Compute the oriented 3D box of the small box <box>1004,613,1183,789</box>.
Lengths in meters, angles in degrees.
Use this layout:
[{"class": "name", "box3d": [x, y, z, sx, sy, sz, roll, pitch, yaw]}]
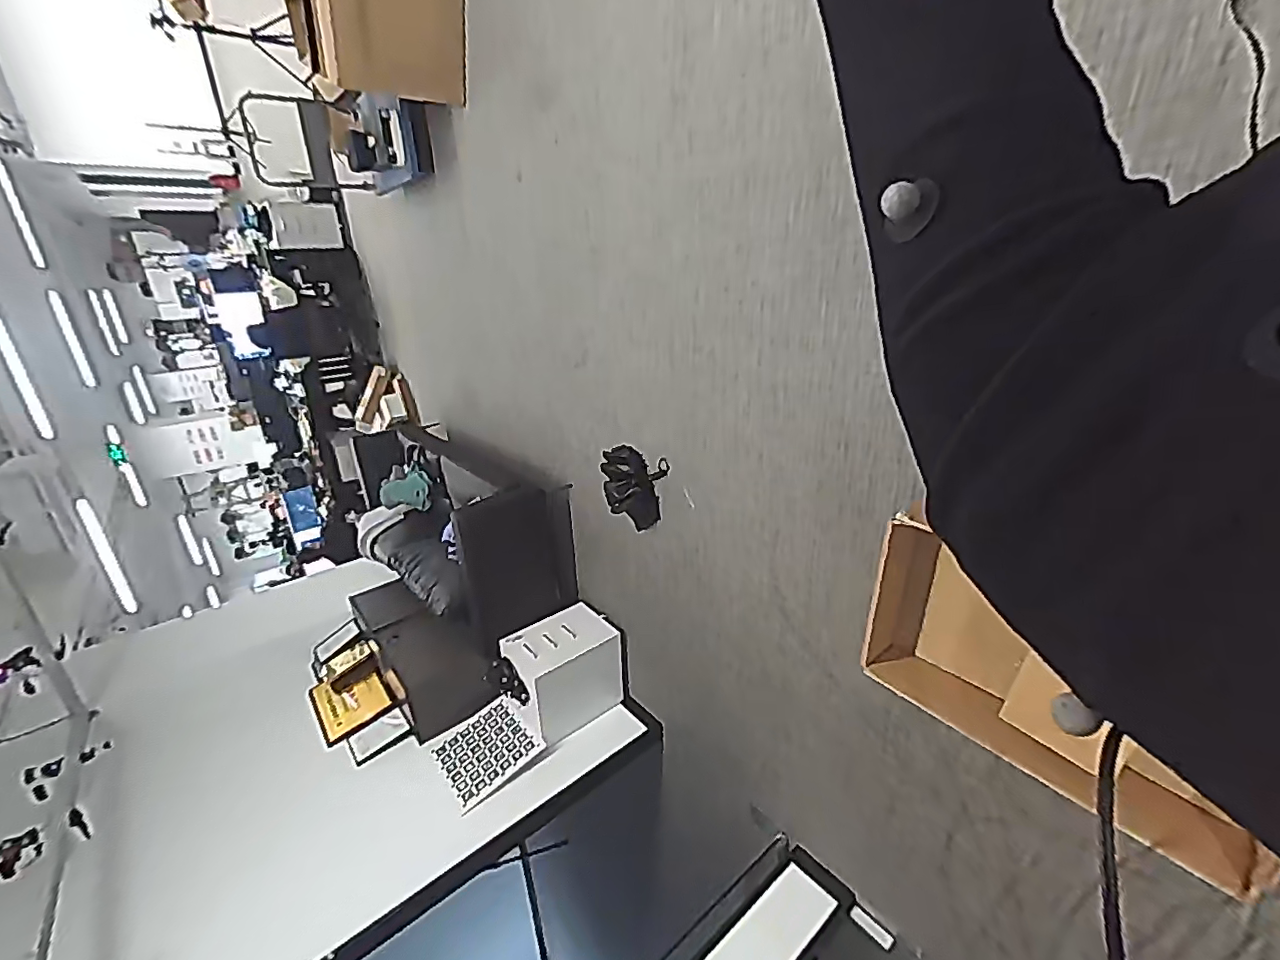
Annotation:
[{"class": "small box", "box3d": [0.751, 0.353, 0.898, 0.168, 0.176, 0.179, 31, 131, 46]}]
